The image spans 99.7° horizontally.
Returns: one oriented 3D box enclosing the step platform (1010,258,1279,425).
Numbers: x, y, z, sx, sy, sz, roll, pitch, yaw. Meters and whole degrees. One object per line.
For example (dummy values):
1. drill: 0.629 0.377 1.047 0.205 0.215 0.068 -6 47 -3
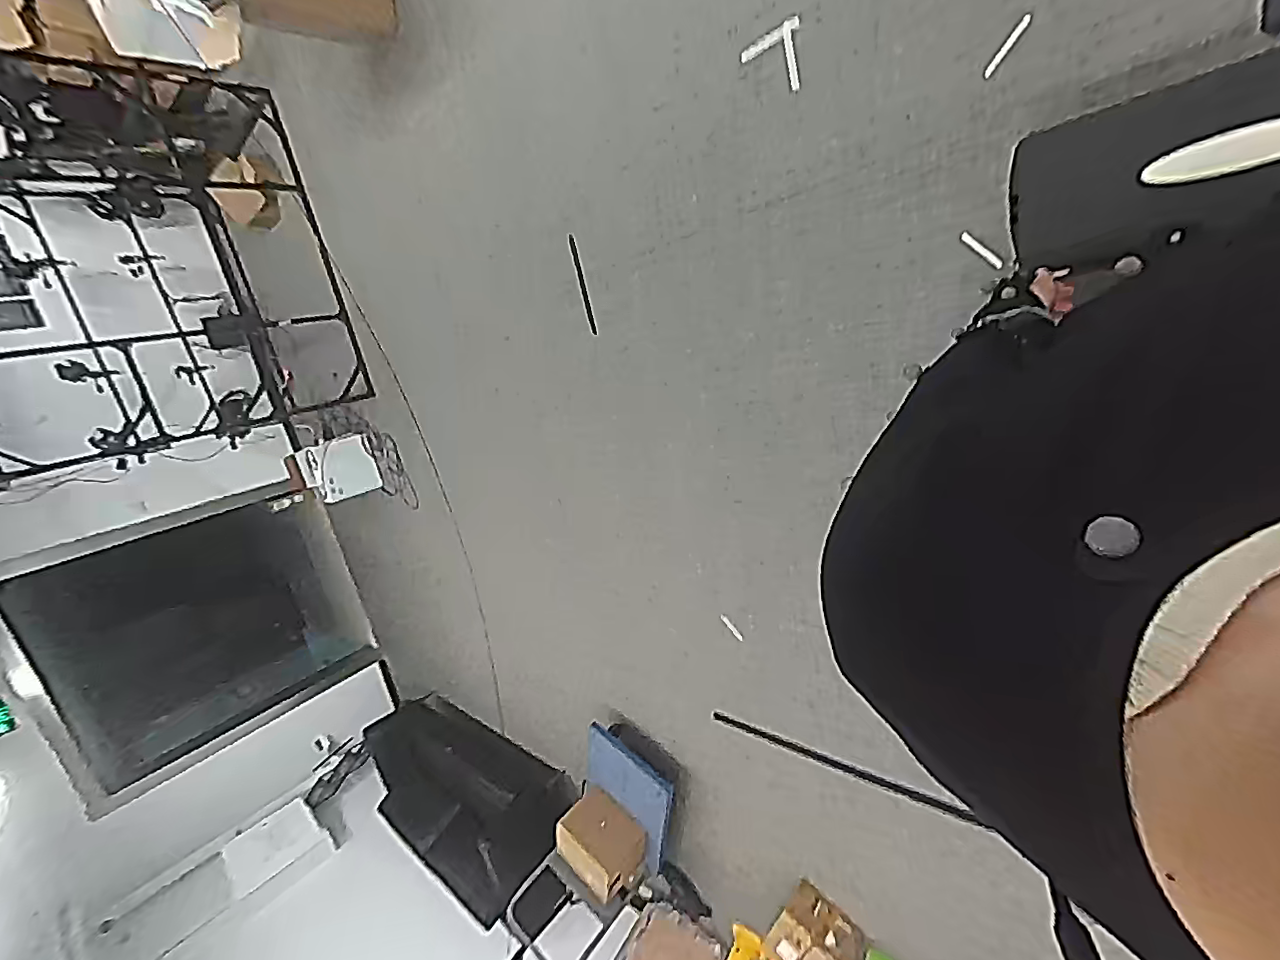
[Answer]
1. step platform: 1.091 -0.254 0.989 0.684 0.204 0.286 9 113 44
